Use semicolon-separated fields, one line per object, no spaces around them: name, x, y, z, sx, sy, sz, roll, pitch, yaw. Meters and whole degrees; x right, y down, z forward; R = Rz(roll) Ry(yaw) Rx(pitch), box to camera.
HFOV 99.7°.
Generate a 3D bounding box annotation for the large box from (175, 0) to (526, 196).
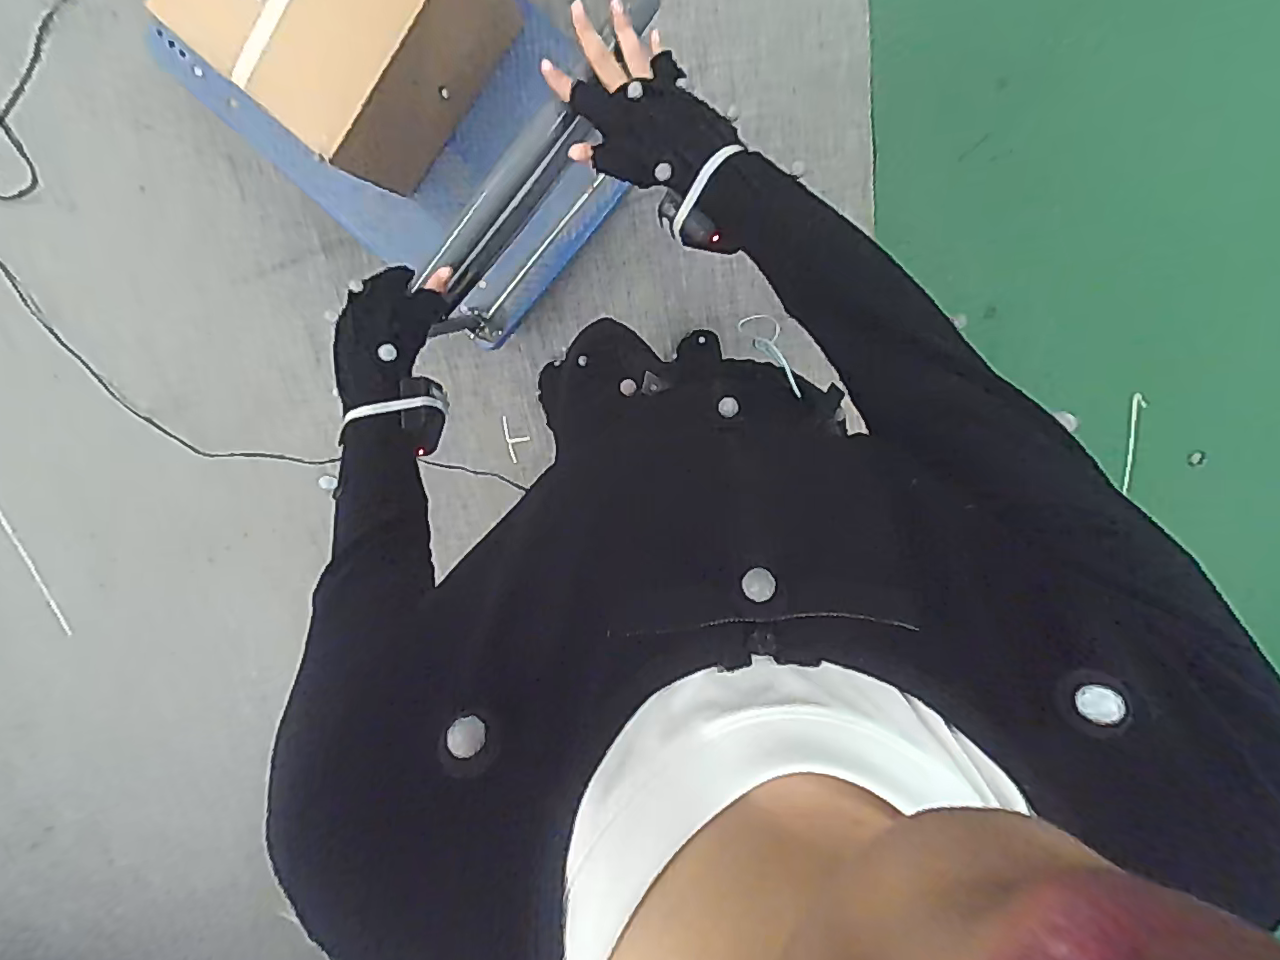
large box;-0.459;-0.788;0.934;0.320;0.320;0.408;40;105;-10
